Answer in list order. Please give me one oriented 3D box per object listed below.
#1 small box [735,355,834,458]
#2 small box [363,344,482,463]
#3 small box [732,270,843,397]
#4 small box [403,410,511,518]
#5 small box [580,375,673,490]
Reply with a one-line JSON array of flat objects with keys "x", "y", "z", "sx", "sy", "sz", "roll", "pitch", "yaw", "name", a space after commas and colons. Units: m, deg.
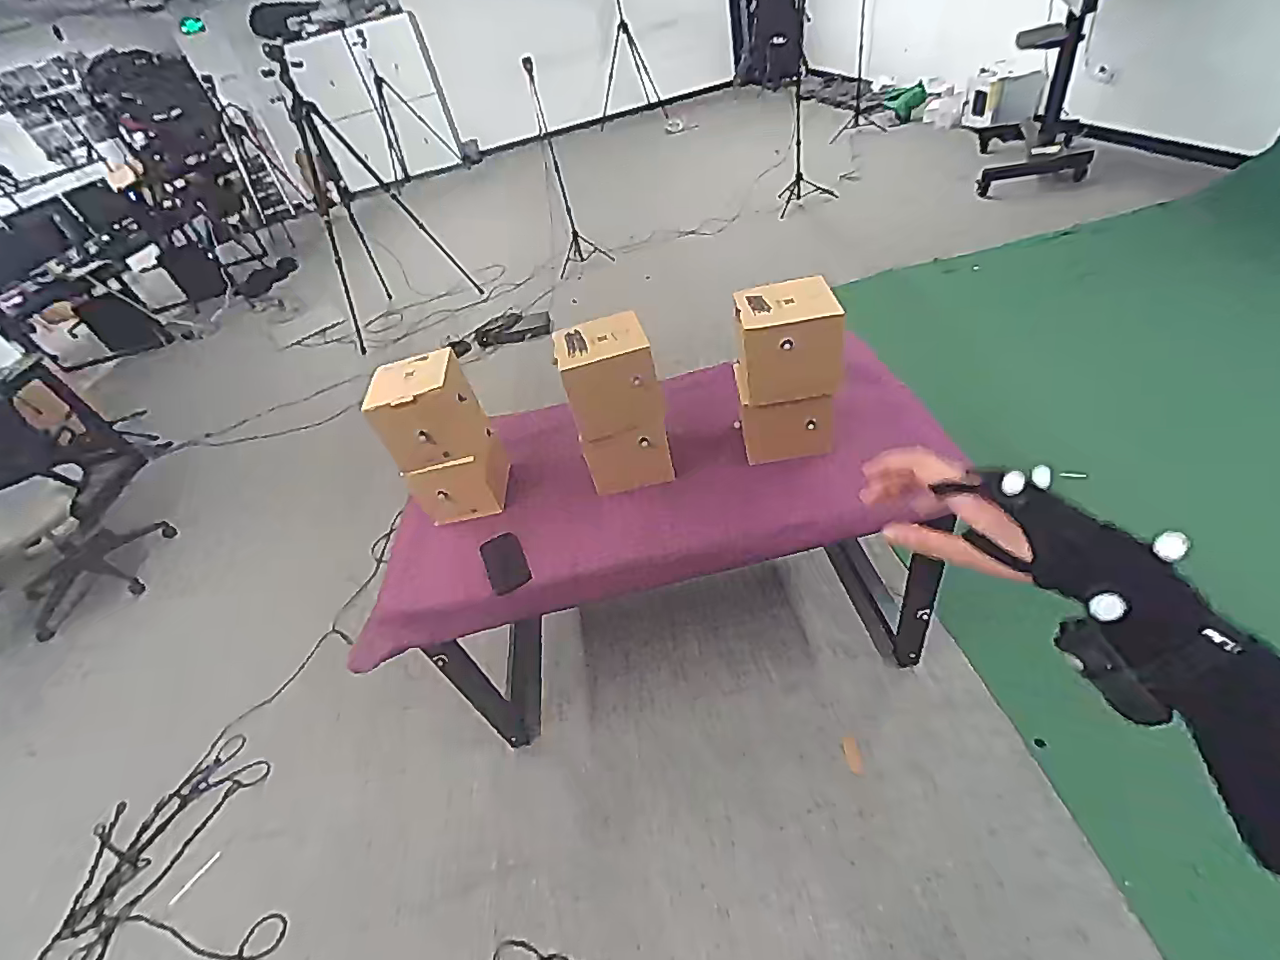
[{"x": 0.306, "y": -0.168, "z": 1.160, "sx": 0.179, "sy": 0.176, "sz": 0.168, "roll": -9, "pitch": 42, "yaw": 10, "name": "small box"}, {"x": -0.445, "y": -0.153, "z": 1.137, "sx": 0.168, "sy": 0.176, "sz": 0.179, "roll": -15, "pitch": 42, "yaw": 0, "name": "small box"}, {"x": 0.280, "y": -0.277, "z": 1.040, "sx": 0.179, "sy": 0.176, "sz": 0.168, "roll": -8, "pitch": 42, "yaw": 8, "name": "small box"}, {"x": -0.409, "y": -0.030, "z": 1.240, "sx": 0.168, "sy": 0.176, "sz": 0.179, "roll": -12, "pitch": 42, "yaw": 5, "name": "small box"}, {"x": -0.027, "y": -0.103, "z": 1.195, "sx": 0.179, "sy": 0.176, "sz": 0.168, "roll": -13, "pitch": 41, "yaw": 4, "name": "small box"}]
